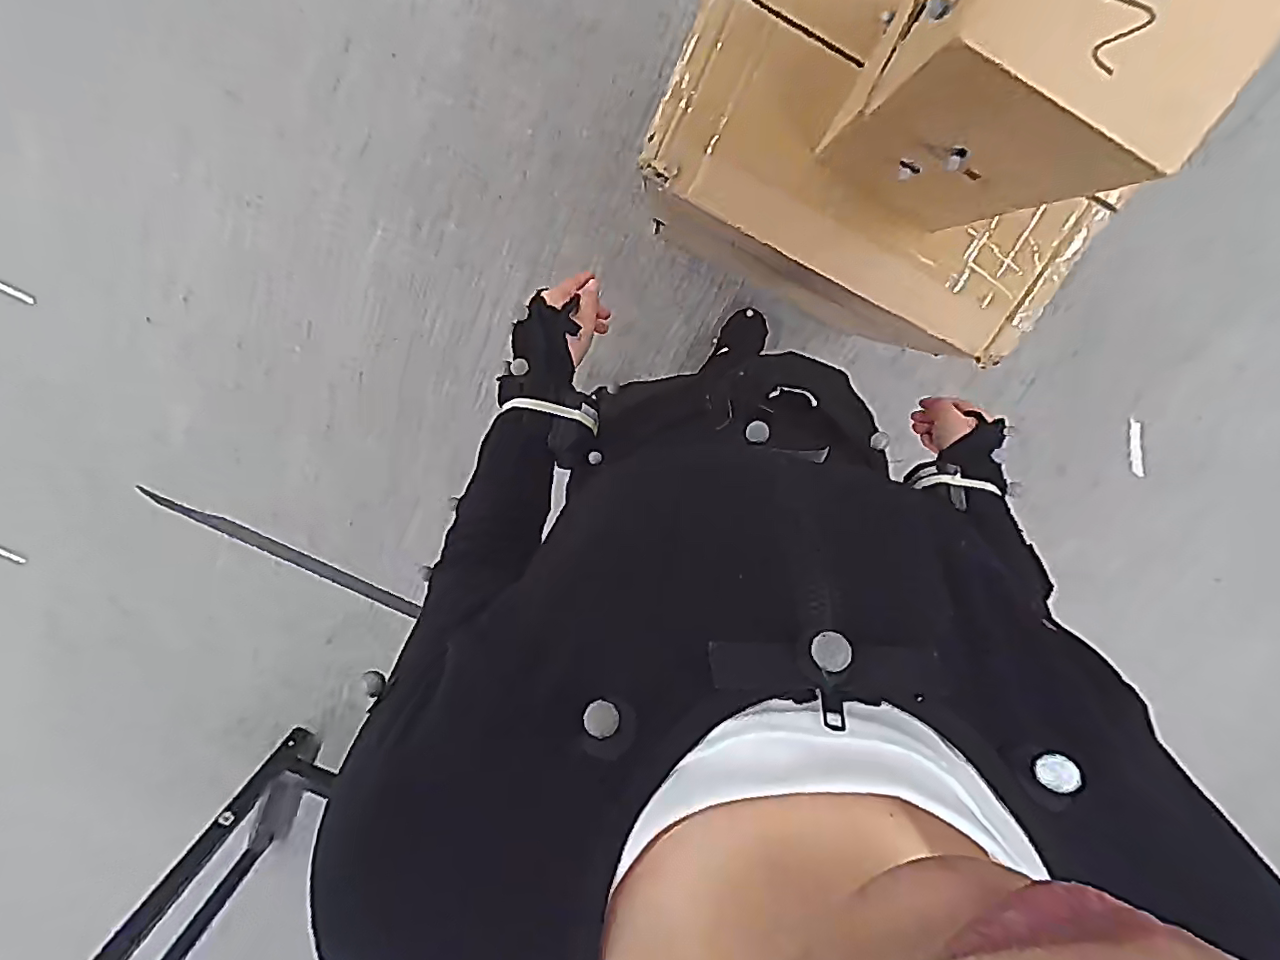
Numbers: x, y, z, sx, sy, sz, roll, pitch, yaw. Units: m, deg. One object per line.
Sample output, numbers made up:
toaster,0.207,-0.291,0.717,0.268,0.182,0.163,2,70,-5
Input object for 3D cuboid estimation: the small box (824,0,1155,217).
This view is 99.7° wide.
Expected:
small box,0.310,-0.382,0.530,0.179,0.176,0.168,28,108,-6
